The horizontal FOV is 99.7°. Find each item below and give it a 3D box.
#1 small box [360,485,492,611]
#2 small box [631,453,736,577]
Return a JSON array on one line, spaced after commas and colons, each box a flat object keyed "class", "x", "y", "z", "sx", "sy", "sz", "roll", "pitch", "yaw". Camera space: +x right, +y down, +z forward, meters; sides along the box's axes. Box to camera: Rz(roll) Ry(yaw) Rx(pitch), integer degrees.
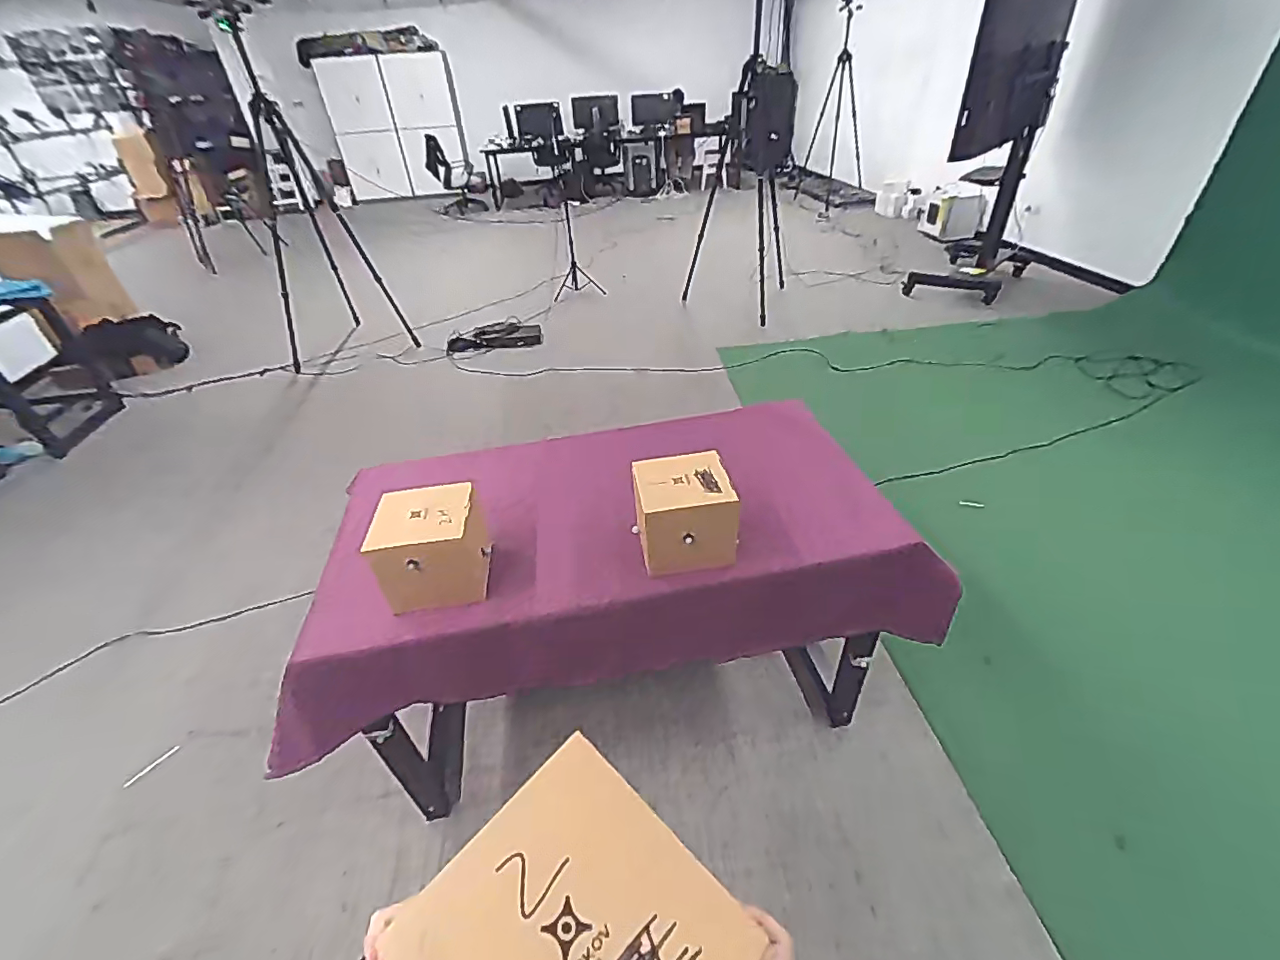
[{"class": "small box", "x": -0.398, "y": 0.133, "z": 1.037, "sx": 0.179, "sy": 0.176, "sz": 0.168, "roll": -7, "pitch": 37, "yaw": -4}, {"class": "small box", "x": 0.082, "y": 0.069, "z": 1.073, "sx": 0.179, "sy": 0.176, "sz": 0.168, "roll": -8, "pitch": 37, "yaw": -4}]
